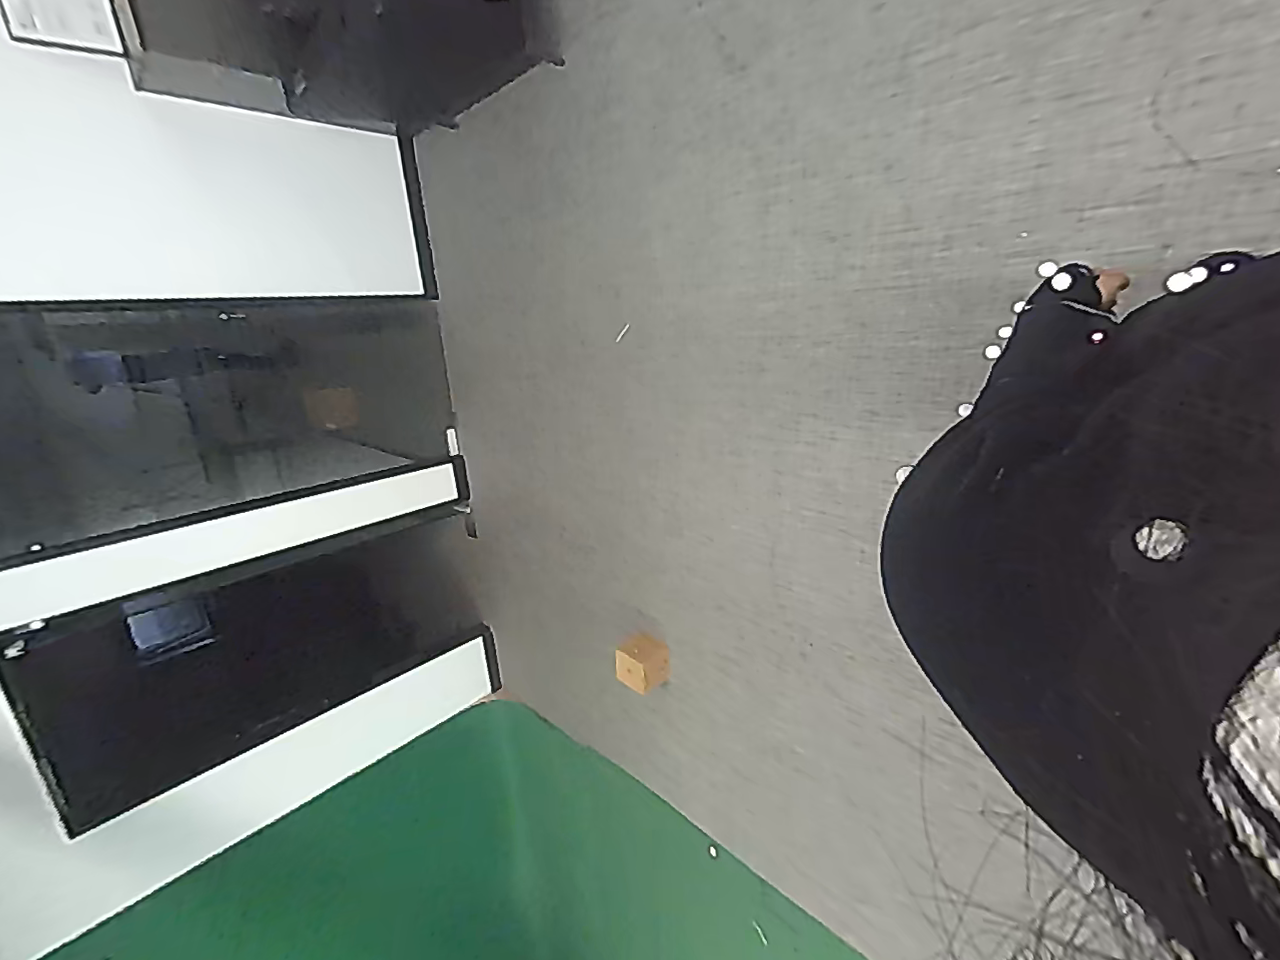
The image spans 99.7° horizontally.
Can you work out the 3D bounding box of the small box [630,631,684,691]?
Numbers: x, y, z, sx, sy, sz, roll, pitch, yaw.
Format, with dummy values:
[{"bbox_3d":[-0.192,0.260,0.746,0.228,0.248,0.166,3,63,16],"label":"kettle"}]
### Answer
[{"bbox_3d":[0.077,0.805,2.433,0.179,0.176,0.168,15,116,42],"label":"small box"}]
